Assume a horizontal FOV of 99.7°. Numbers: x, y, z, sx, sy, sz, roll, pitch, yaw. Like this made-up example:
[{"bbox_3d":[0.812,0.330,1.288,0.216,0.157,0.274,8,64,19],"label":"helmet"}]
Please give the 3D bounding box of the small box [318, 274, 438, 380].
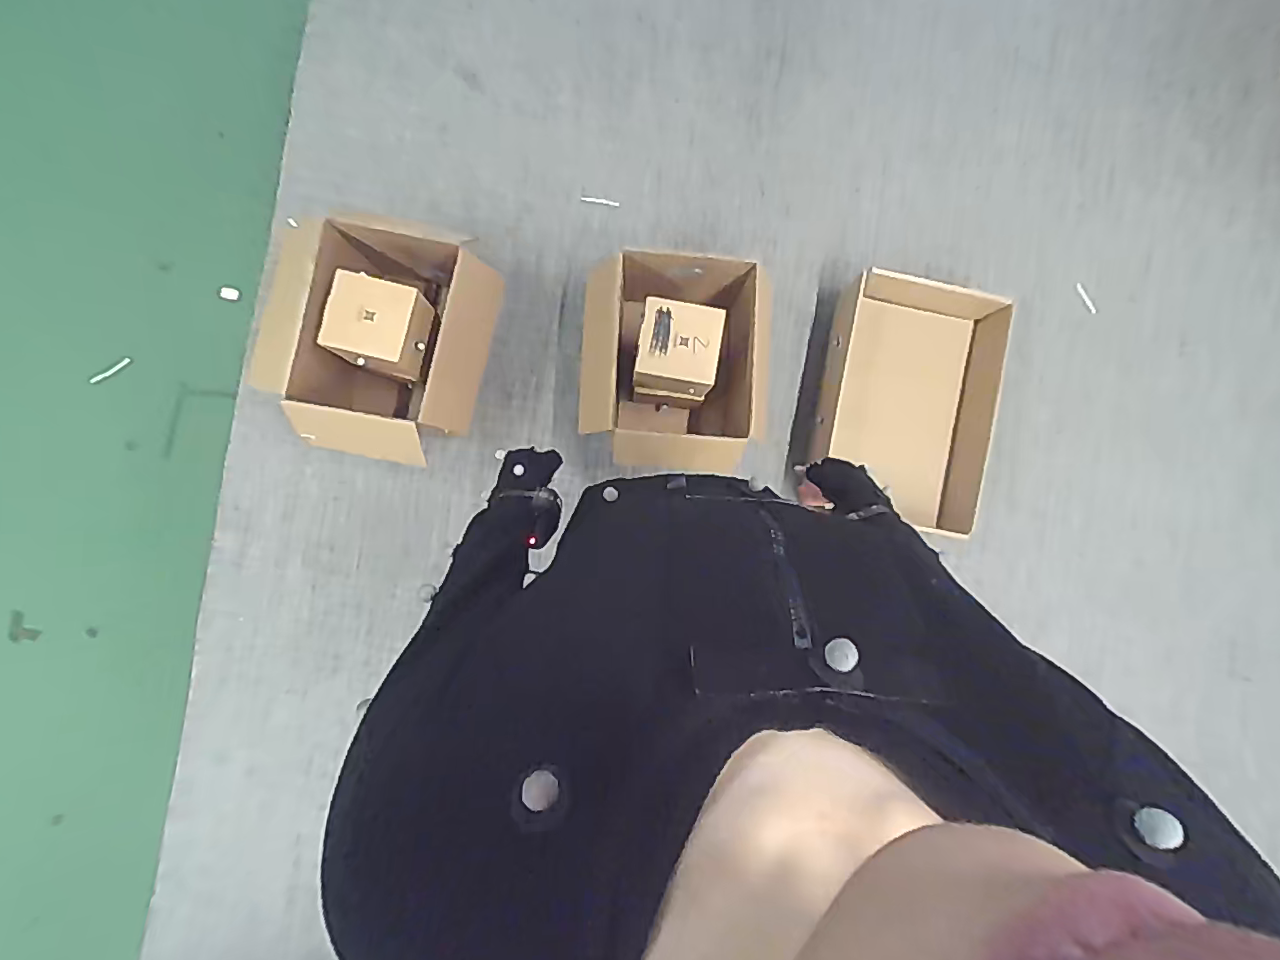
[{"bbox_3d":[-0.576,-0.333,1.215,0.179,0.176,0.168,13,86,-2],"label":"small box"}]
